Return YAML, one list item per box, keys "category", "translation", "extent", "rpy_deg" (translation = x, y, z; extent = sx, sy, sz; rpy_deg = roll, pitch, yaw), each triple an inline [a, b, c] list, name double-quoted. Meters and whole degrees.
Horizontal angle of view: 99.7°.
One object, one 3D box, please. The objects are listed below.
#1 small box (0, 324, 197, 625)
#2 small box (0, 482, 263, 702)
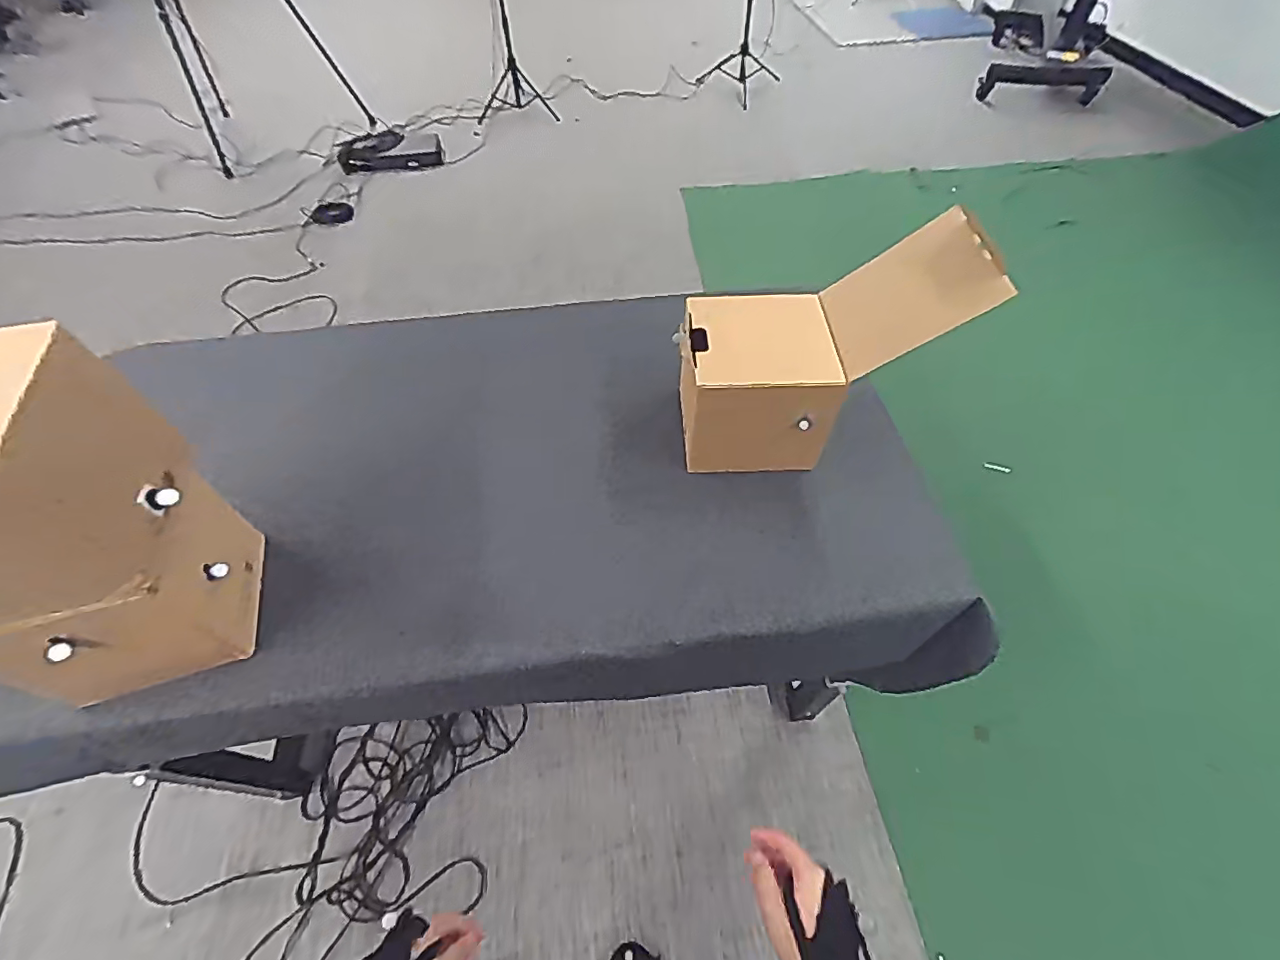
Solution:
- category: "small box"
  translation: [-0.522, 0.005, 0.442]
  extent: [0.179, 0.176, 0.168]
  rpy_deg: [-14, 56, -10]
- category: "small box"
  translation: [-0.535, 0.109, 0.567]
  extent: [0.179, 0.176, 0.168]
  rpy_deg: [-15, 55, -10]
